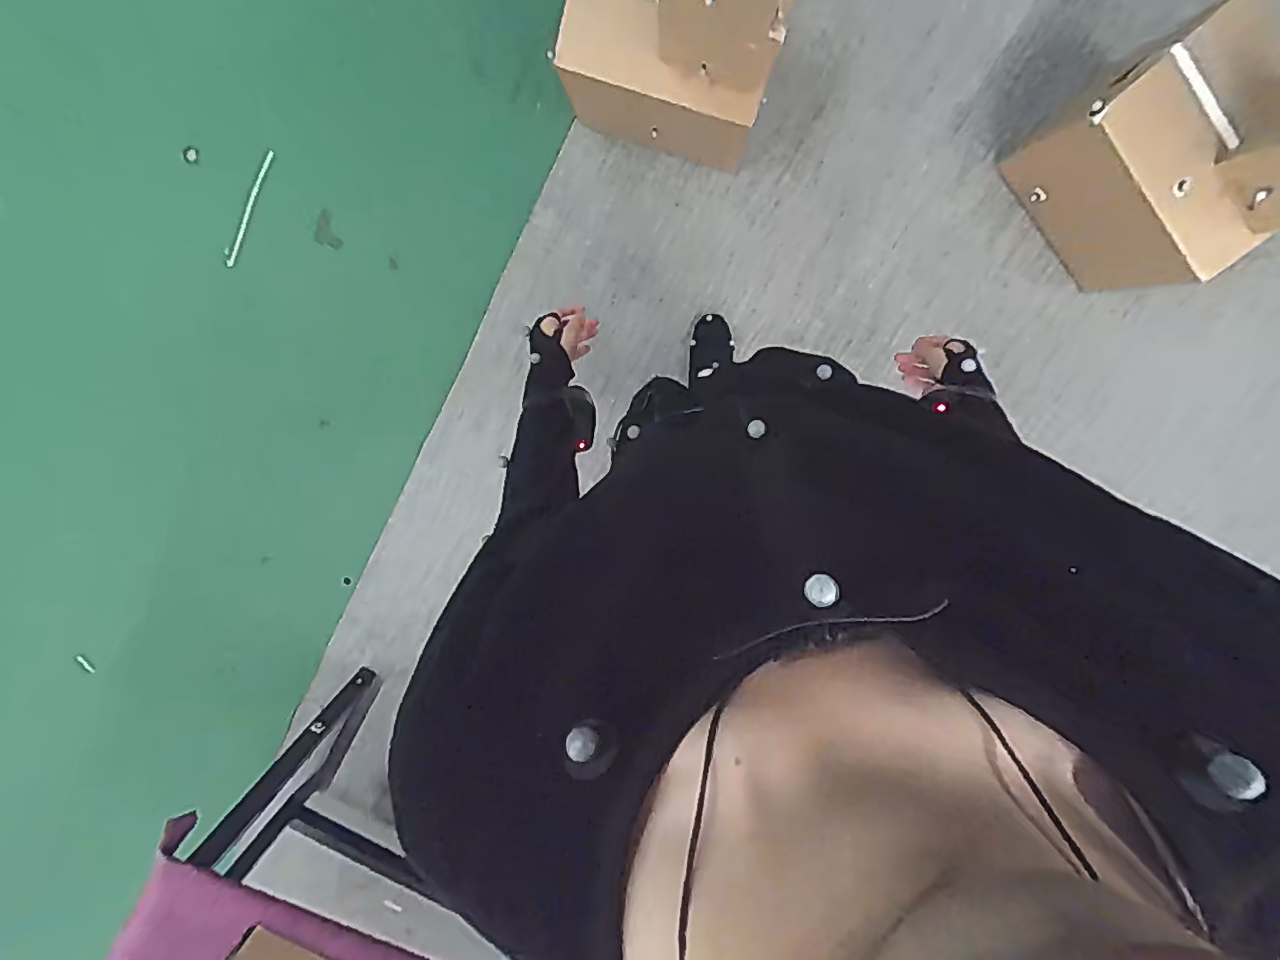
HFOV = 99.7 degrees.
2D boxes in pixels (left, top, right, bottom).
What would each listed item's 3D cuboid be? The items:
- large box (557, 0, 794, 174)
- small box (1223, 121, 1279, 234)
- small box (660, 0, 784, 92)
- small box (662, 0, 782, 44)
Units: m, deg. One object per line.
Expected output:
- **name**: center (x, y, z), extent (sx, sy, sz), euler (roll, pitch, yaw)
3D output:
- **large box**: center (0.083, -0.898, 1.139), extent (0.408, 0.320, 0.320), euler (17, 104, 0)
- **small box**: center (1.174, -0.550, 0.910), extent (0.179, 0.176, 0.168), euler (-40, 99, 11)
- **small box**: center (0.144, -0.795, 0.907), extent (0.179, 0.176, 0.168), euler (21, 105, -2)
- **small box**: center (0.133, -0.752, 0.749), extent (0.179, 0.176, 0.168), euler (17, 105, 0)
